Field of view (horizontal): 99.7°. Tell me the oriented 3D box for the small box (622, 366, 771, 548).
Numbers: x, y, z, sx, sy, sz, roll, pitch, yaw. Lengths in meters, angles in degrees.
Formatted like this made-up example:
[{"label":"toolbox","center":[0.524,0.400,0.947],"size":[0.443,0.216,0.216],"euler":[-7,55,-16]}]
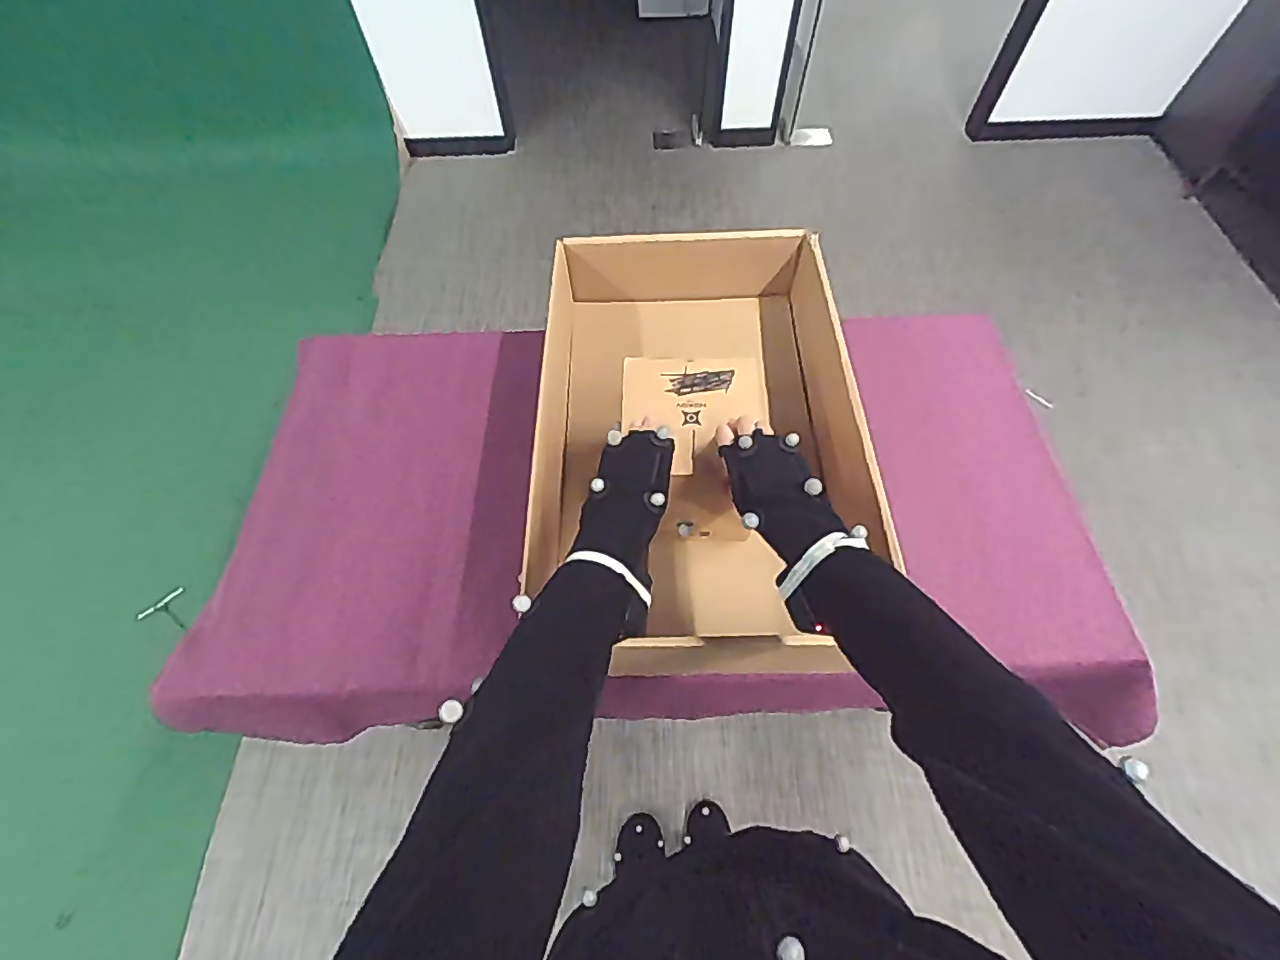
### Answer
[{"label":"small box","center":[0.063,-0.026,0.698],"size":[0.168,0.176,0.179],"euler":[-1,59,1]}]
